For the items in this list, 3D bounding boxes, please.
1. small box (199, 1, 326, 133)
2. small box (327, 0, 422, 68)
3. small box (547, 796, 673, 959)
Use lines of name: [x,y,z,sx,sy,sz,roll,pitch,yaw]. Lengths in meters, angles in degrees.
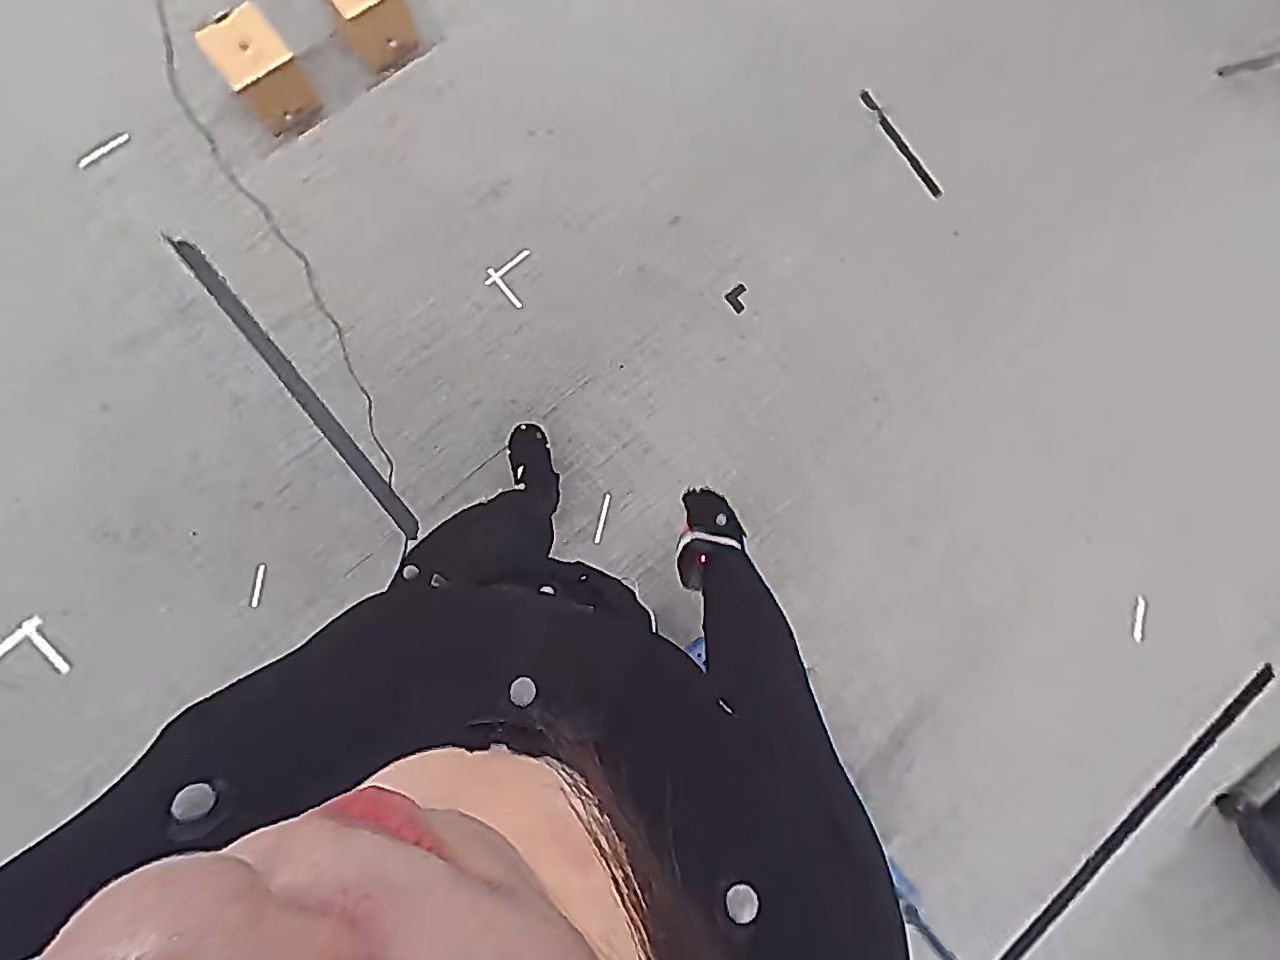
small box: [-0.962,-1.055,1.395,0.168,0.176,0.179,-37,92,-6]
small box: [-0.716,-1.258,1.431,0.168,0.176,0.179,-41,92,-6]
small box: [-0.061,0.762,1.044,0.179,0.176,0.168,-33,91,-5]
